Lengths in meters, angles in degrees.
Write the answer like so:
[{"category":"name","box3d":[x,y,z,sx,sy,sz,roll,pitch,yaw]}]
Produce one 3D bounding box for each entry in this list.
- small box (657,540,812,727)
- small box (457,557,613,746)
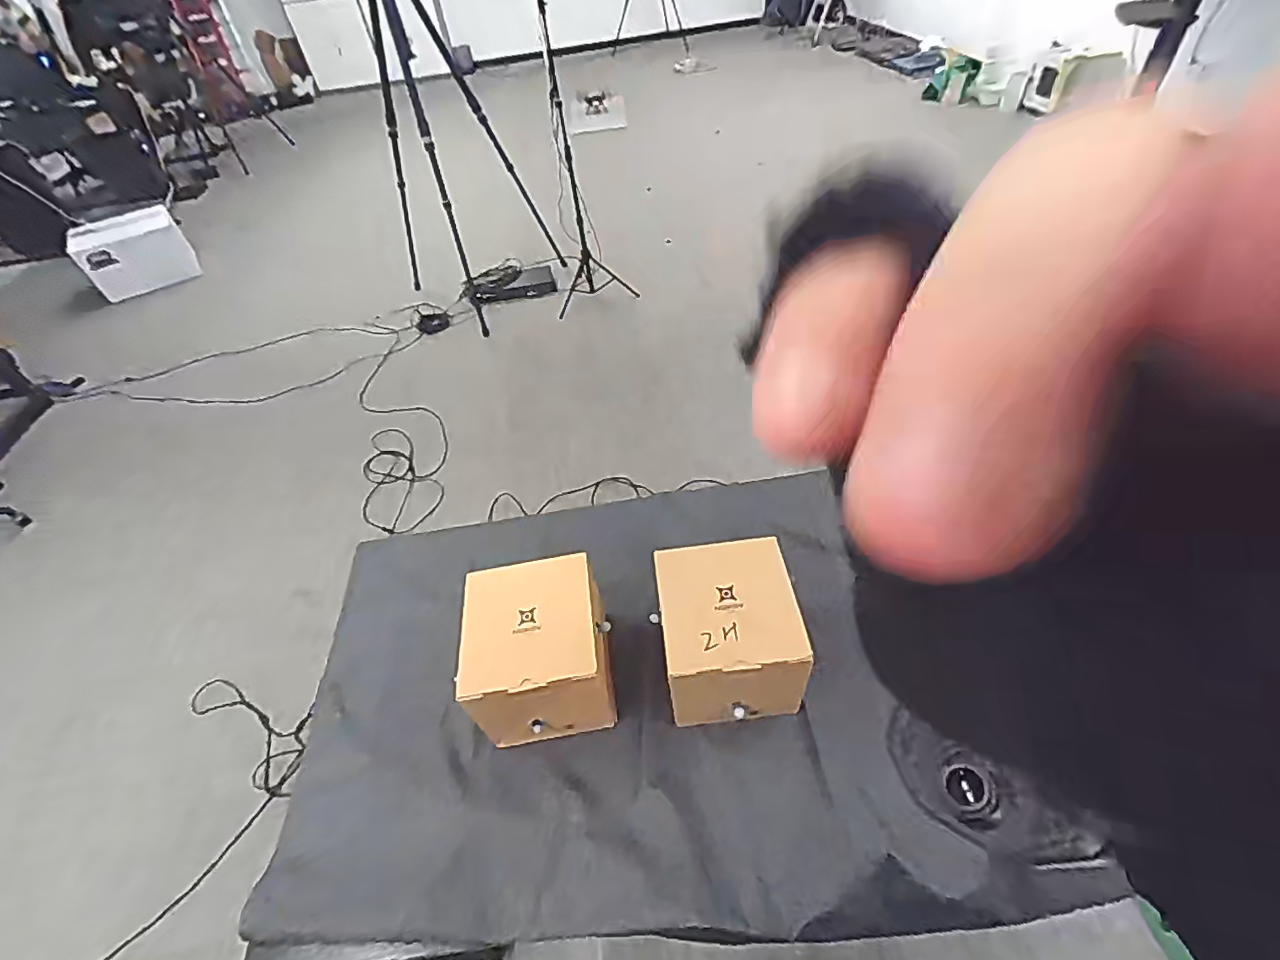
[{"category":"small box","box3d":[0.113,0.205,0.719,0.168,0.176,0.179,-7,47,2]},{"category":"small box","box3d":[-0.133,0.232,0.731,0.168,0.176,0.179,-10,47,-2]}]
